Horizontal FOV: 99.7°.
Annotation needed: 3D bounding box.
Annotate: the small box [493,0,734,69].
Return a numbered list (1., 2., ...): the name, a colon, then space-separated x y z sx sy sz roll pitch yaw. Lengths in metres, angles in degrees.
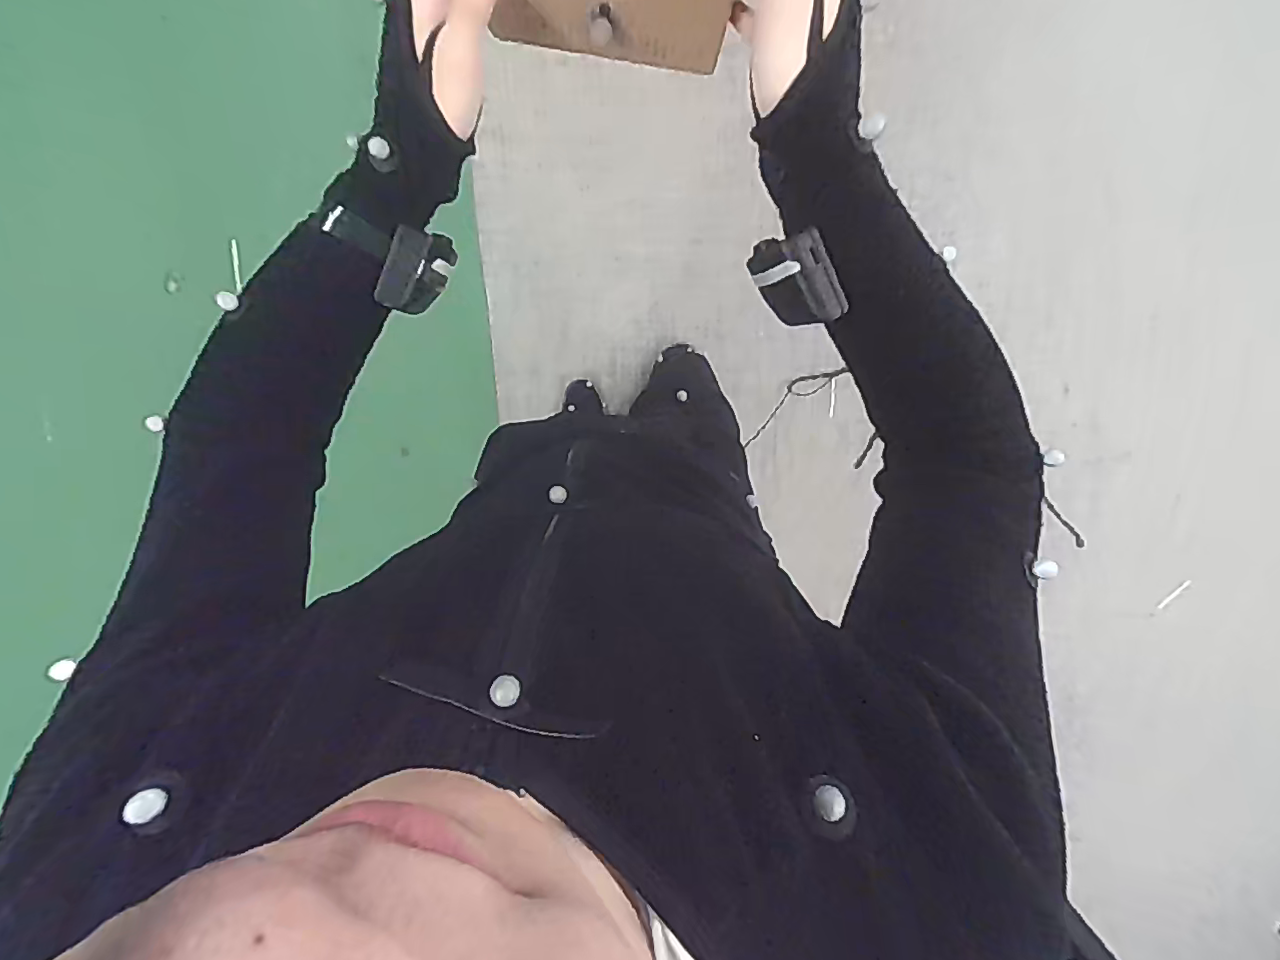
1. small box: -0.008 -0.409 0.344 0.179 0.176 0.168 7 91 -5
